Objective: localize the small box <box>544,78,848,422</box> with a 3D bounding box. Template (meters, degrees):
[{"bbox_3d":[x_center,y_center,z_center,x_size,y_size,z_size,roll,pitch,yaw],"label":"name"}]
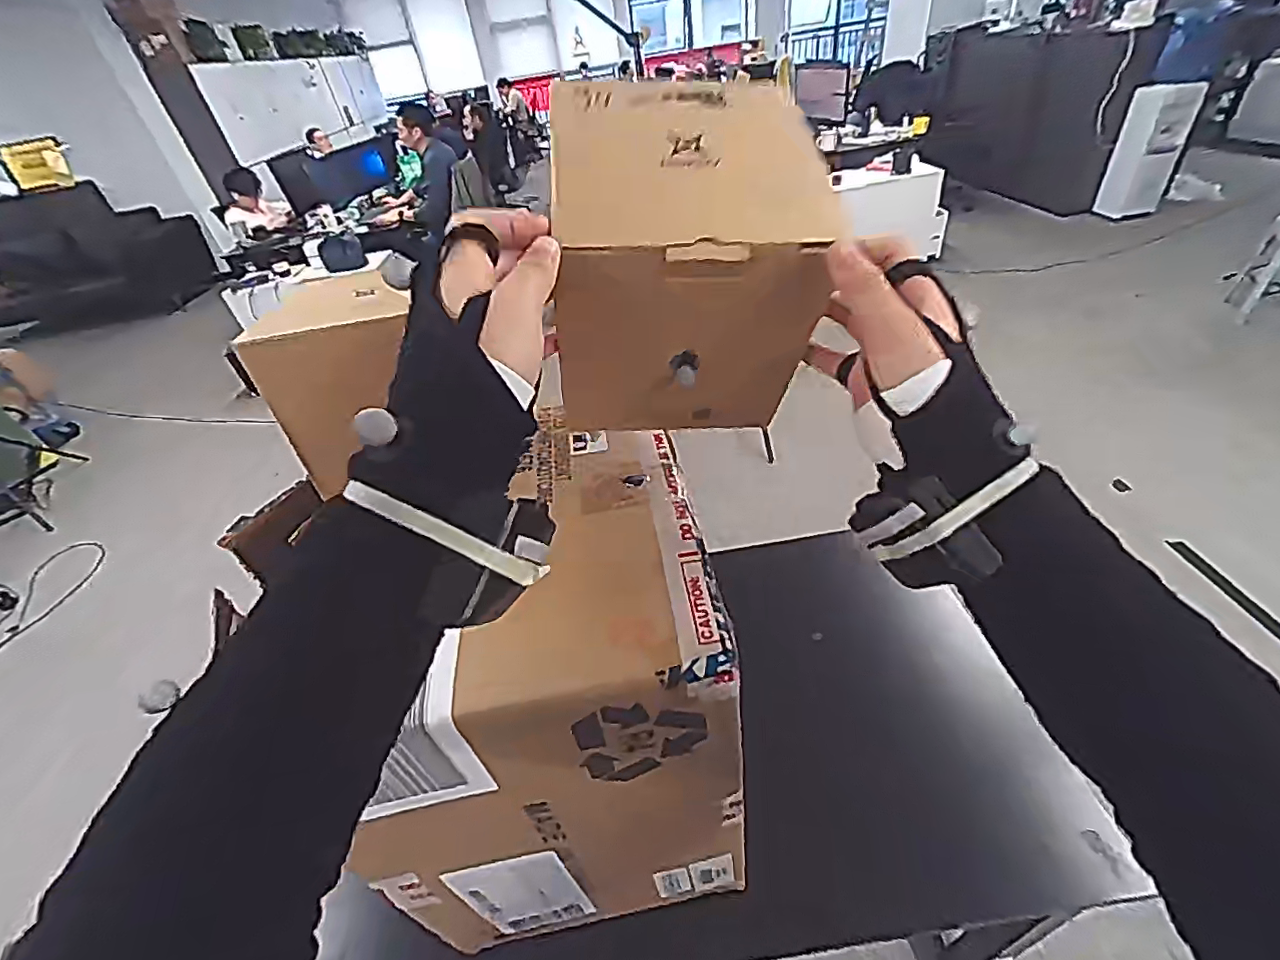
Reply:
[{"bbox_3d":[0.023,-0.153,0.392,0.168,0.176,0.179,-2,62,-5],"label":"small box"}]

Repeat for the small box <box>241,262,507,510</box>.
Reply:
[{"bbox_3d":[-0.234,-0.097,0.534,0.168,0.176,0.179,-13,37,-5],"label":"small box"}]
